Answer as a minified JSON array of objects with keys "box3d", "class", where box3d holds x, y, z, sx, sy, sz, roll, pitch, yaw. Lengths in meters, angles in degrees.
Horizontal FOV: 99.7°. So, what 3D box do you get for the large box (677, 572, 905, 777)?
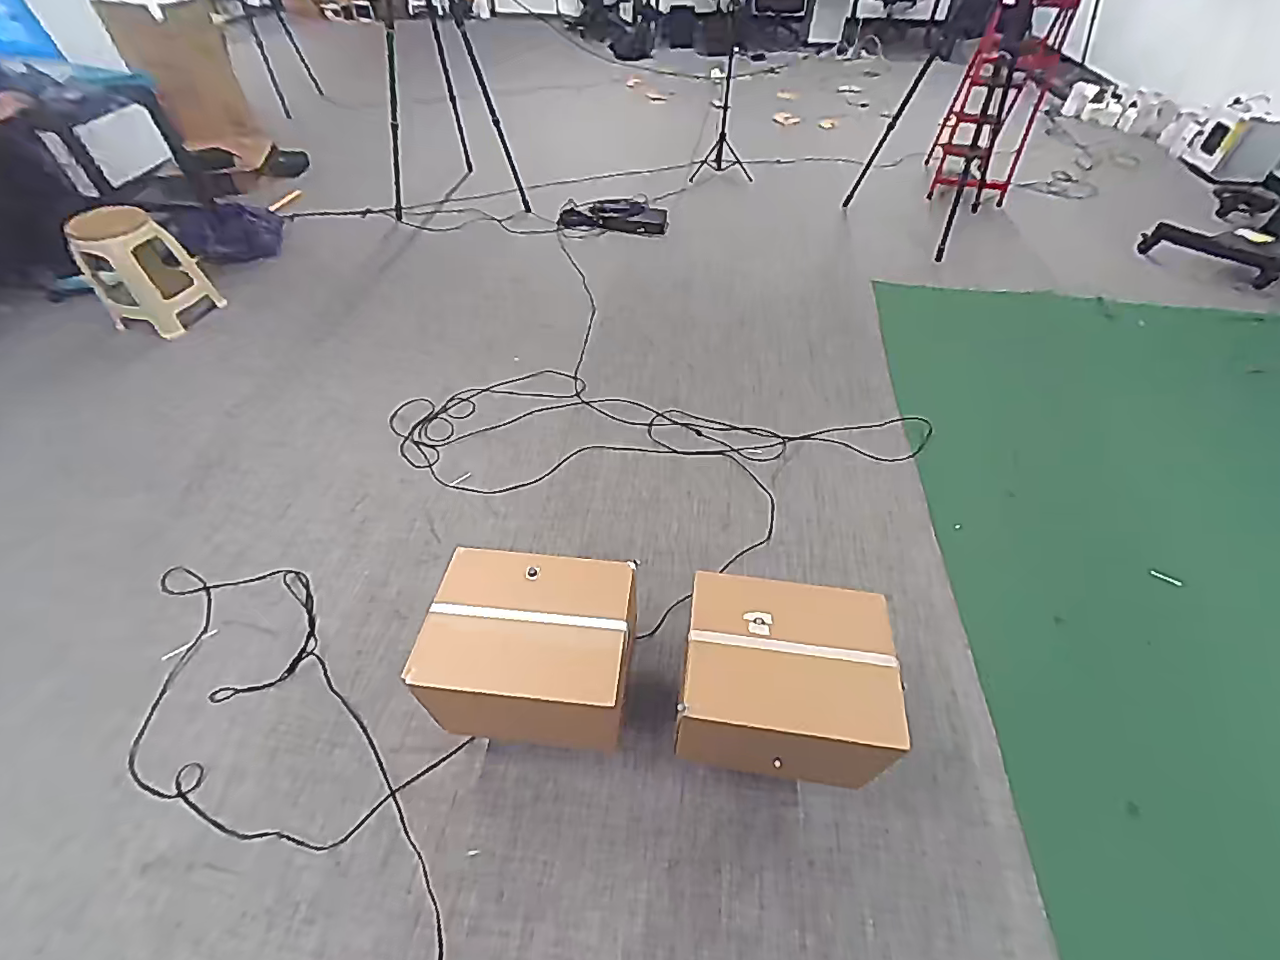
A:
[{"box3d":[0.302,0.432,1.192,0.408,0.320,0.320,6,49,6],"class":"large box"}]
